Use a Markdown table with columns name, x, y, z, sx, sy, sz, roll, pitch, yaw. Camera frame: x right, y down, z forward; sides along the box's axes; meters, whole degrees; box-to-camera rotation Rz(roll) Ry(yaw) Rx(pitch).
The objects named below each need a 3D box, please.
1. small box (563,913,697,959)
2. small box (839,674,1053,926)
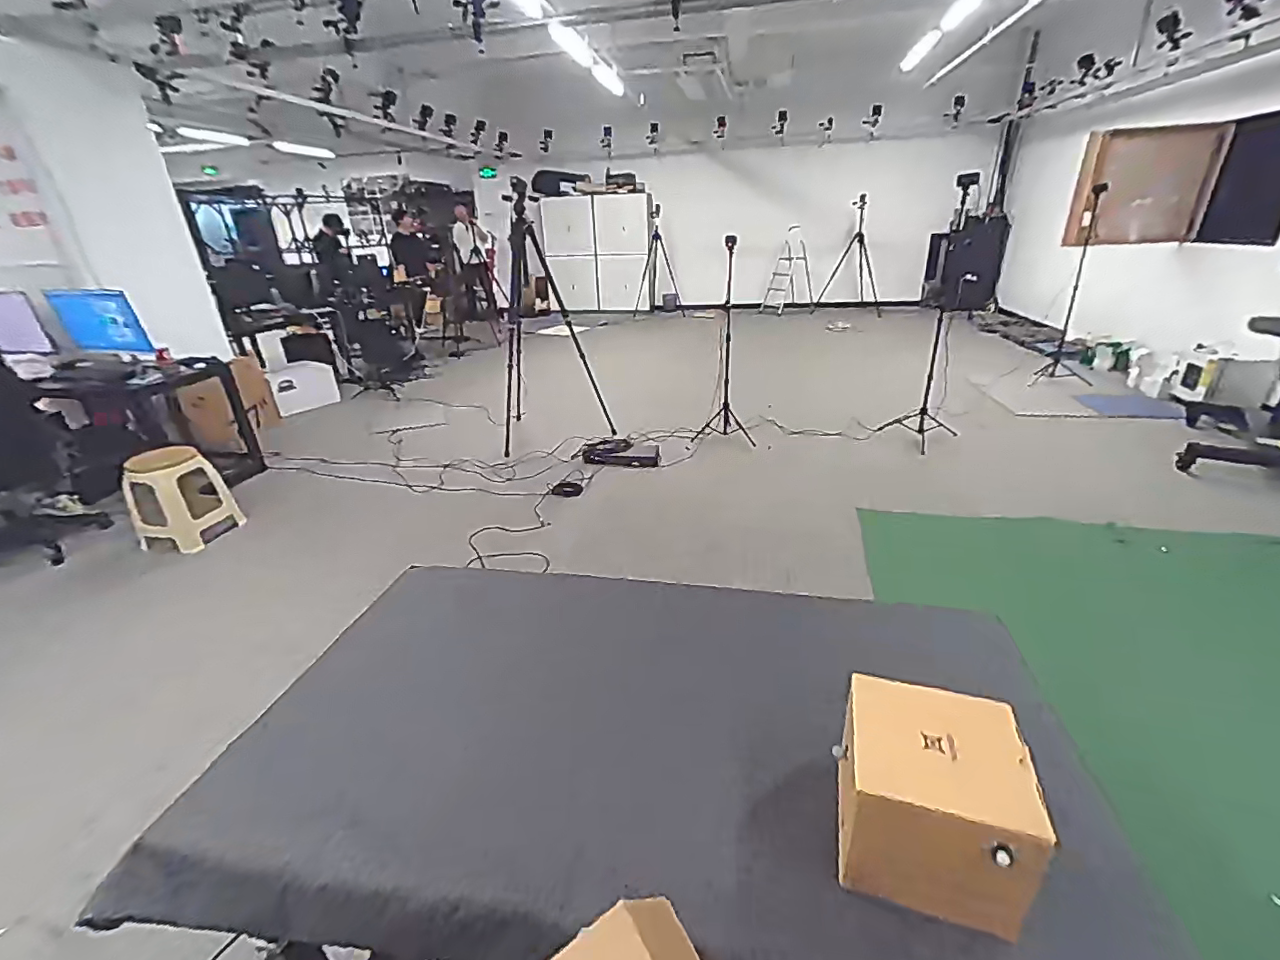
| name | x | y | z | sx | sy | sz | roll | pitch | yaw |
| --- | --- | --- | --- | --- | --- | --- | --- | --- | --- |
| small box | -0.011 | 0.433 | 0.364 | 0.168 | 0.176 | 0.179 | -33 | 51 | -12 |
| small box | 0.327 | 0.359 | 0.621 | 0.179 | 0.176 | 0.168 | 6 | 26 | 17 |
